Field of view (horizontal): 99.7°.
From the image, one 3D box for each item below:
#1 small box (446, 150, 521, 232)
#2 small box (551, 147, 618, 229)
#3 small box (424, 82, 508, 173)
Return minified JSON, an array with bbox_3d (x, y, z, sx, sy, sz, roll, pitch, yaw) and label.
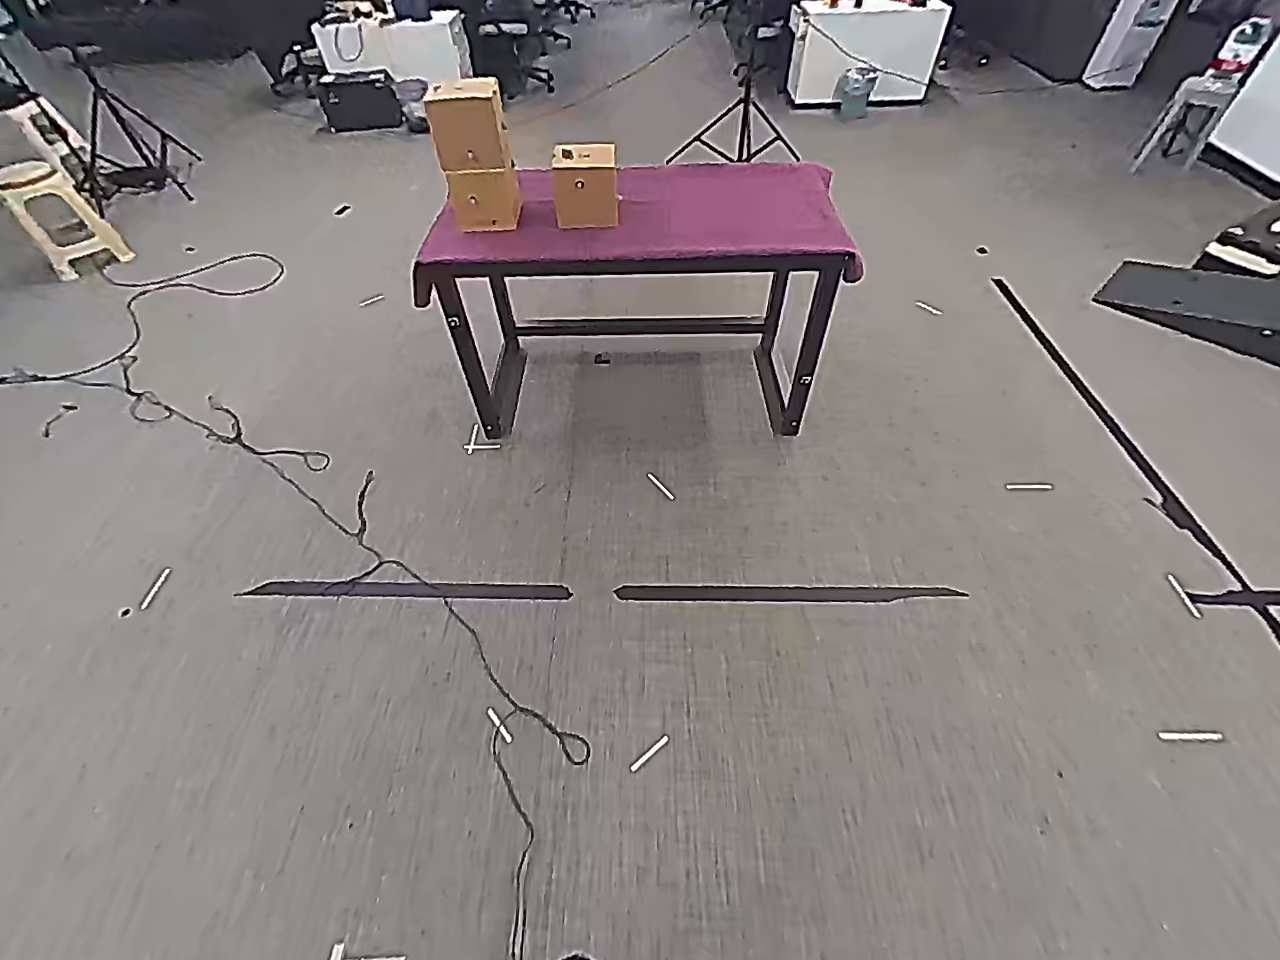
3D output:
[{"bbox_3d":[-0.452,-0.843,1.588,0.168,0.176,0.179,-3,50,-1],"label":"small box"},{"bbox_3d":[-0.157,-0.852,1.585,0.179,0.176,0.168,-2,50,-1],"label":"small box"},{"bbox_3d":[-0.461,-0.954,1.467,0.179,0.176,0.168,-4,50,-3],"label":"small box"}]
